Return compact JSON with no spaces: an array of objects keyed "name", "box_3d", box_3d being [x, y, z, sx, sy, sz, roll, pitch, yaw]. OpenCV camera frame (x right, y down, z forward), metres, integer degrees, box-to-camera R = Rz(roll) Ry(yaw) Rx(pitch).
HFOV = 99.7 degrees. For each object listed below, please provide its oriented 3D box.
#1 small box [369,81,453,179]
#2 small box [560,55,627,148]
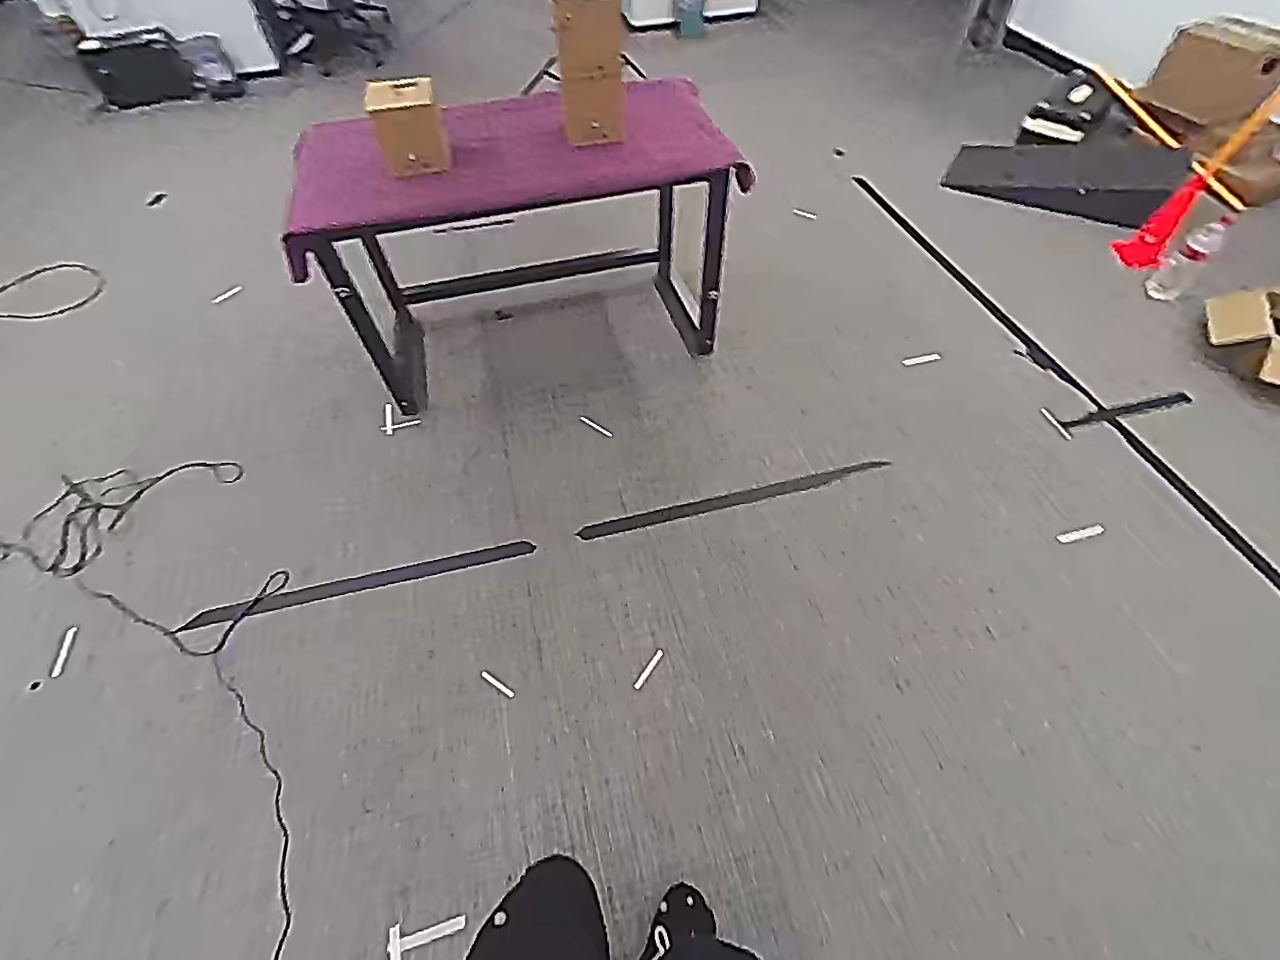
[{"name":"small box","box_3d":[-0.617,-0.953,1.476,0.168,0.176,0.179,-12,56,-6]},{"name":"small box","box_3d":[-0.133,-1.085,1.552,0.168,0.176,0.179,-9,55,-3]}]
